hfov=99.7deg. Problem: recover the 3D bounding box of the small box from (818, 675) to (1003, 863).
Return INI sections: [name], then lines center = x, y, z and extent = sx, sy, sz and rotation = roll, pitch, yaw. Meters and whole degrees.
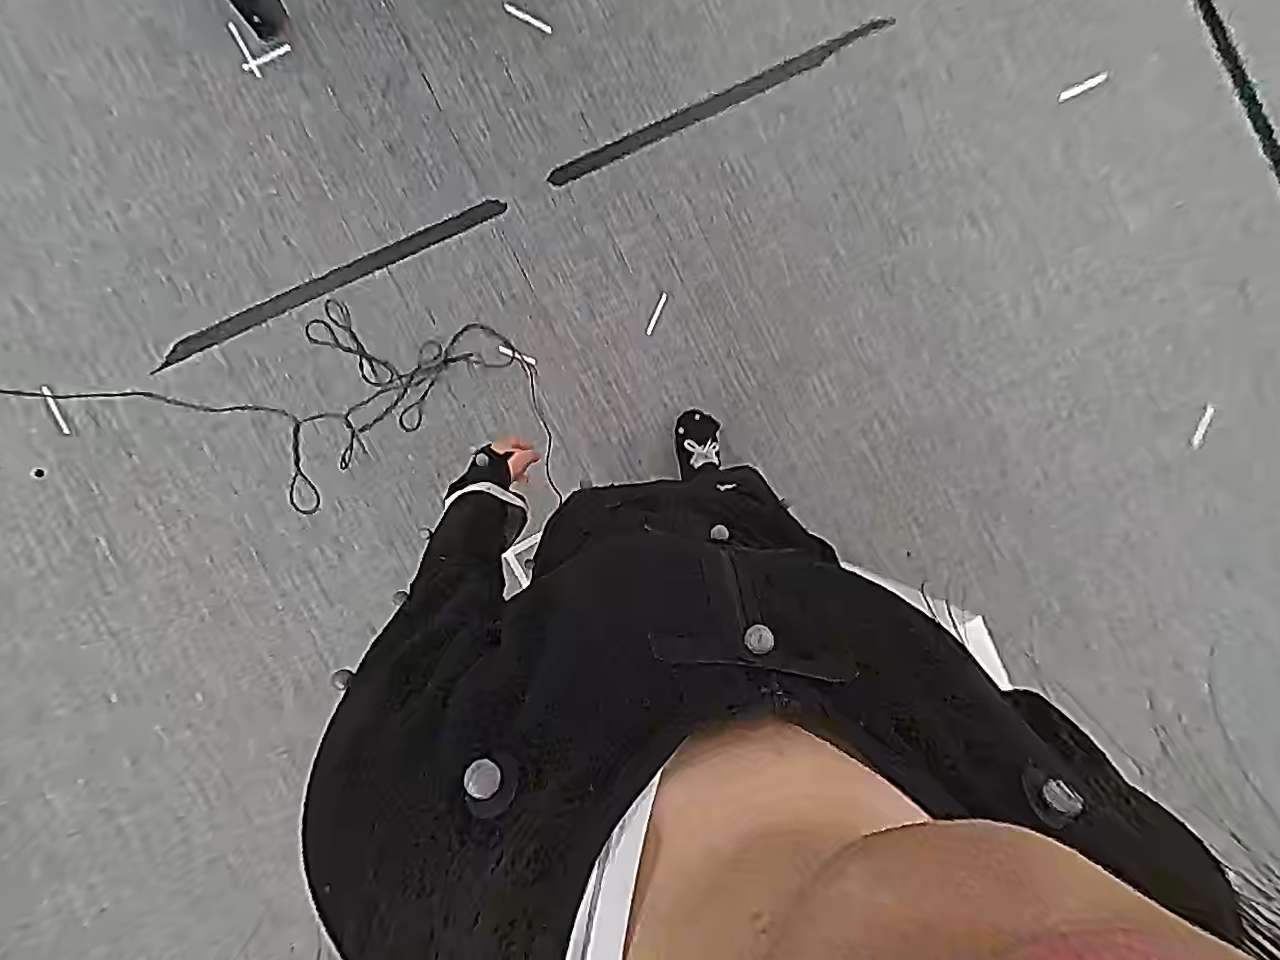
[small box]
center = 0.400, 0.424, 0.833
extent = 0.168, 0.176, 0.179
rotation = -22, 92, -2
